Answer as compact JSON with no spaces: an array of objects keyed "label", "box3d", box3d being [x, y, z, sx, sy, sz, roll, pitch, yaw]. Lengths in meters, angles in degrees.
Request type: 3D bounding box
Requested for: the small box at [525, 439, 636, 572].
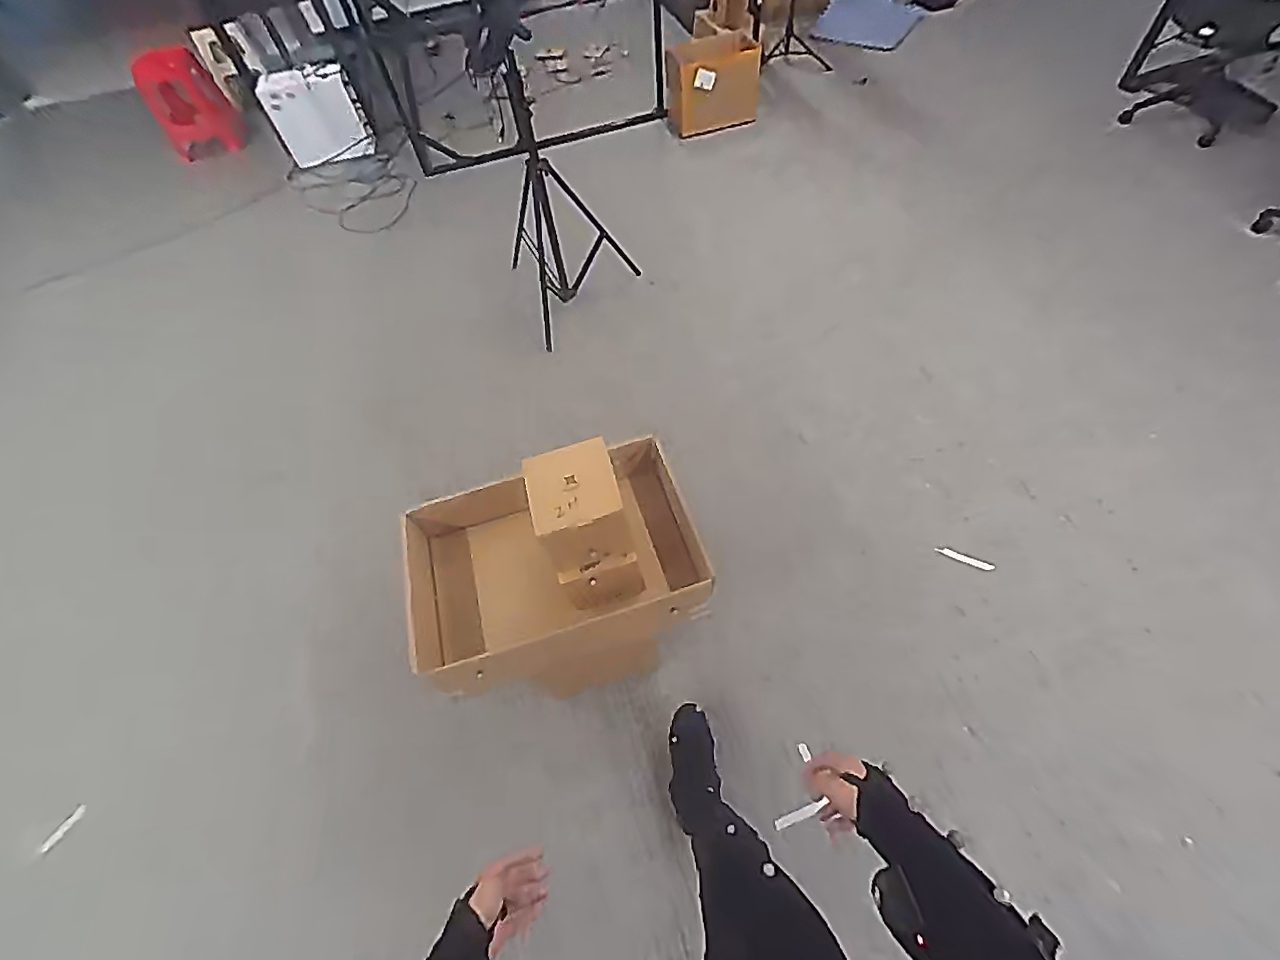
[{"label":"small box","box3d":[-0.113,0.054,1.058,0.168,0.176,0.179,-17,58,-2]}]
